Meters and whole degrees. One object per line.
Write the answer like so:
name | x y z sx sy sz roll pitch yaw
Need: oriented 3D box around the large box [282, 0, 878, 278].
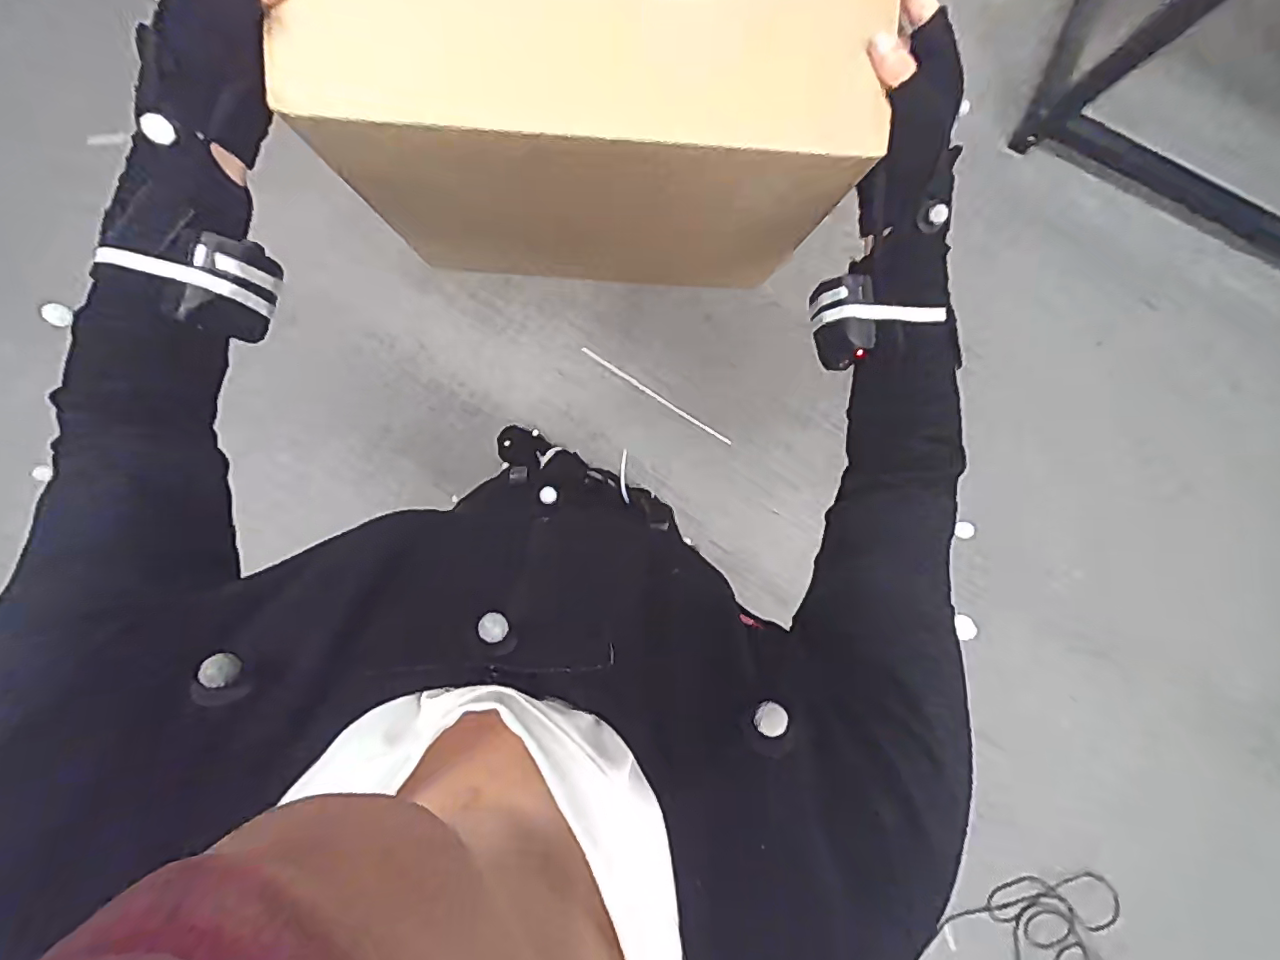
large box | -0.043 -0.395 0.506 0.408 0.320 0.320 1 94 -4
